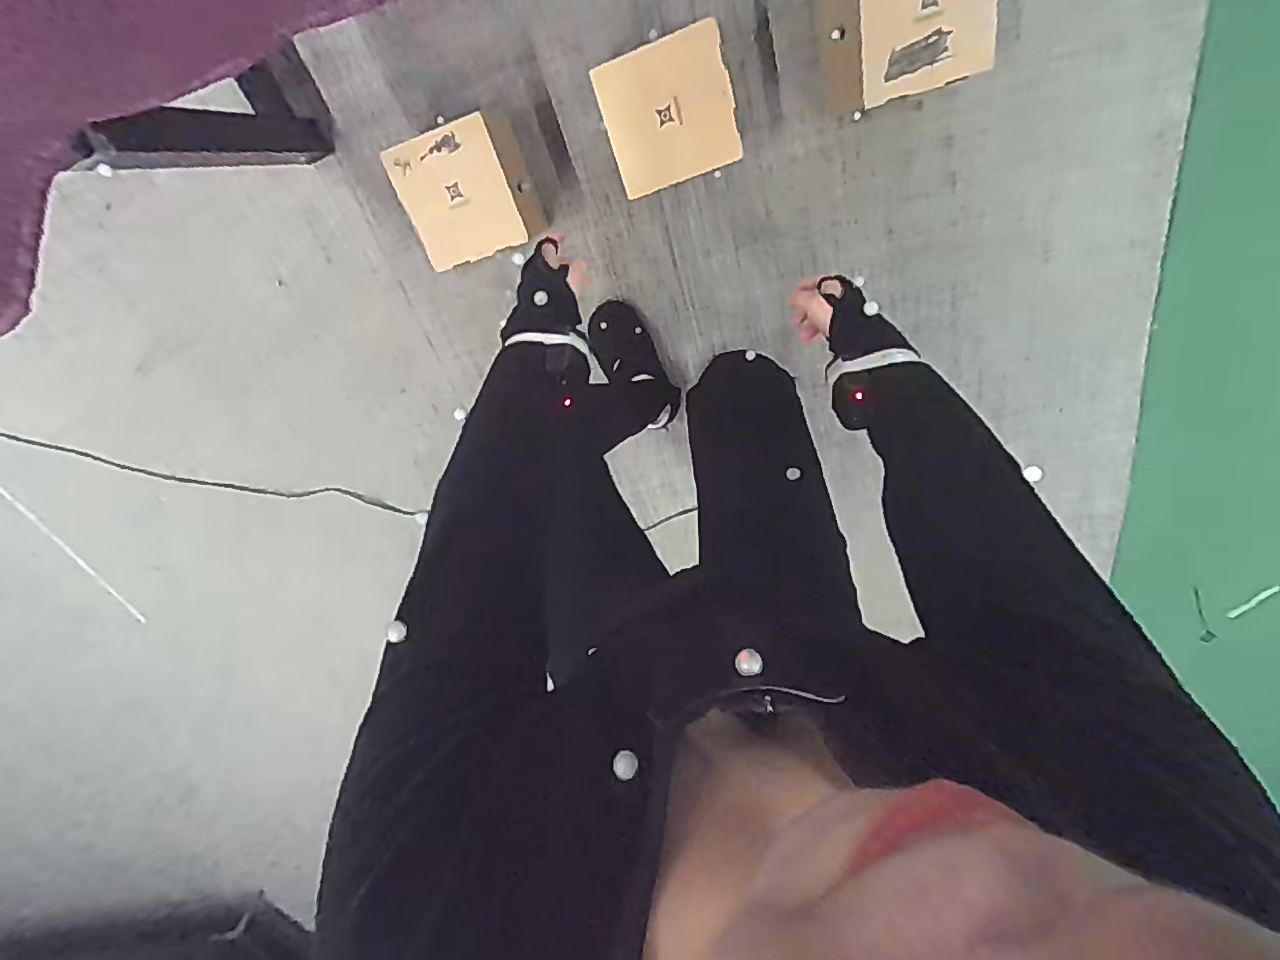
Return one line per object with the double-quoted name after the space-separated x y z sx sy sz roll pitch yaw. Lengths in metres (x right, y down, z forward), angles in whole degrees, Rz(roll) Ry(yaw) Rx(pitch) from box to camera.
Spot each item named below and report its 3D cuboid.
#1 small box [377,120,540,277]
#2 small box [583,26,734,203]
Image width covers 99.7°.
-0.277 -0.457 0.876 0.168 0.176 0.179 -16 120 10 "small box"
0.032 -0.535 0.815 0.179 0.176 0.168 -16 119 11 "small box"
